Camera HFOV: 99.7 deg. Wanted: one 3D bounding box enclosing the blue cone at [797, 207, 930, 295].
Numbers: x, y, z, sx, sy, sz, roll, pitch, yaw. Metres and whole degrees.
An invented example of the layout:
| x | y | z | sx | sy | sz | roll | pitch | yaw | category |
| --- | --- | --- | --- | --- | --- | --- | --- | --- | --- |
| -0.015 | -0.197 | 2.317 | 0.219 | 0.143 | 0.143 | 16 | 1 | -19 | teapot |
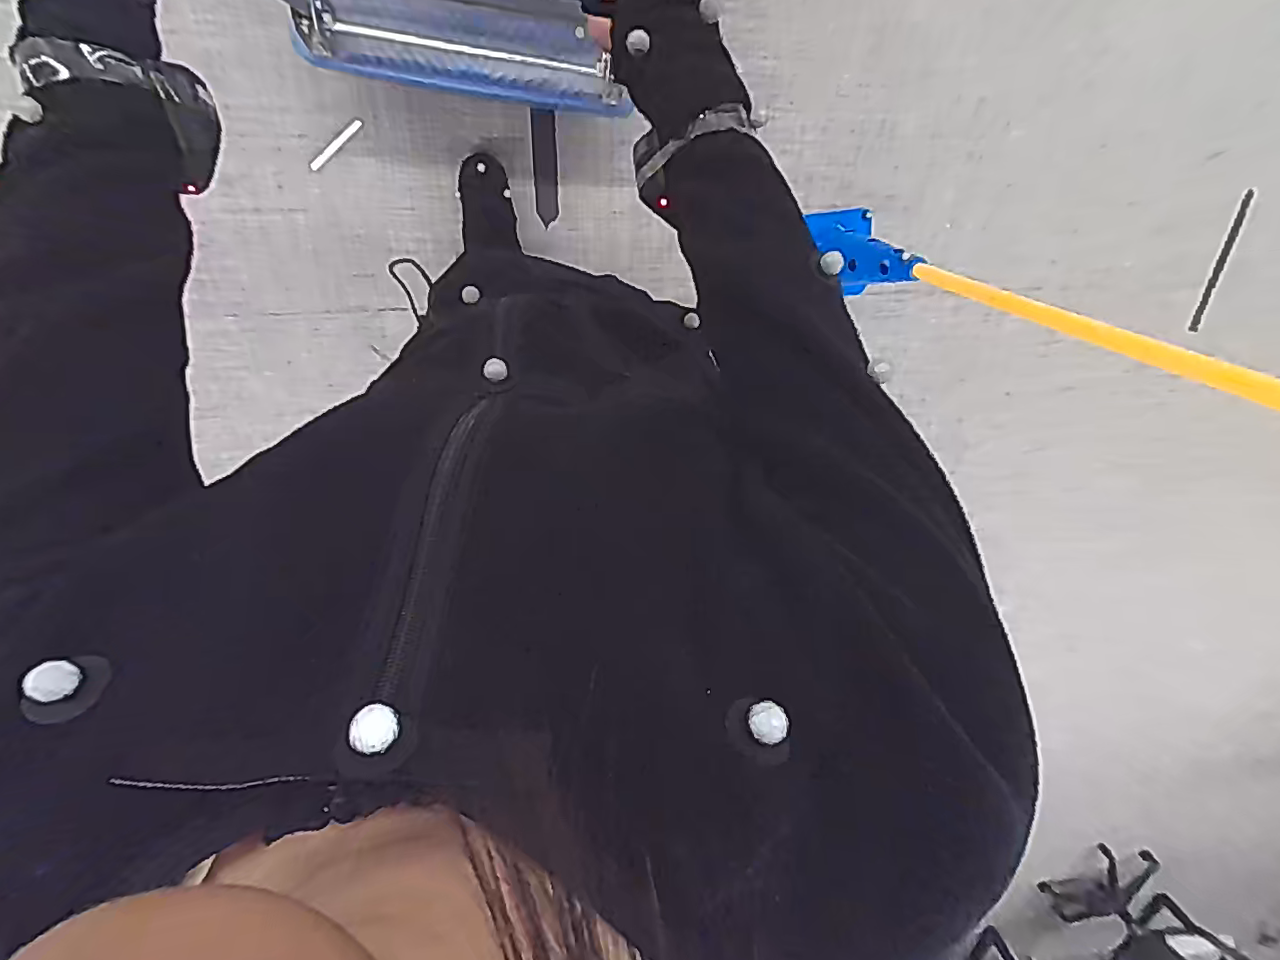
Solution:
| x | y | z | sx | sy | sz | roll | pitch | yaw | category |
| --- | --- | --- | --- | --- | --- | --- | --- | --- | --- |
| 0.501 | -0.489 | 1.180 | 0.193 | 0.380 | 0.192 | -7 | 116 | -6 | blue cone |
